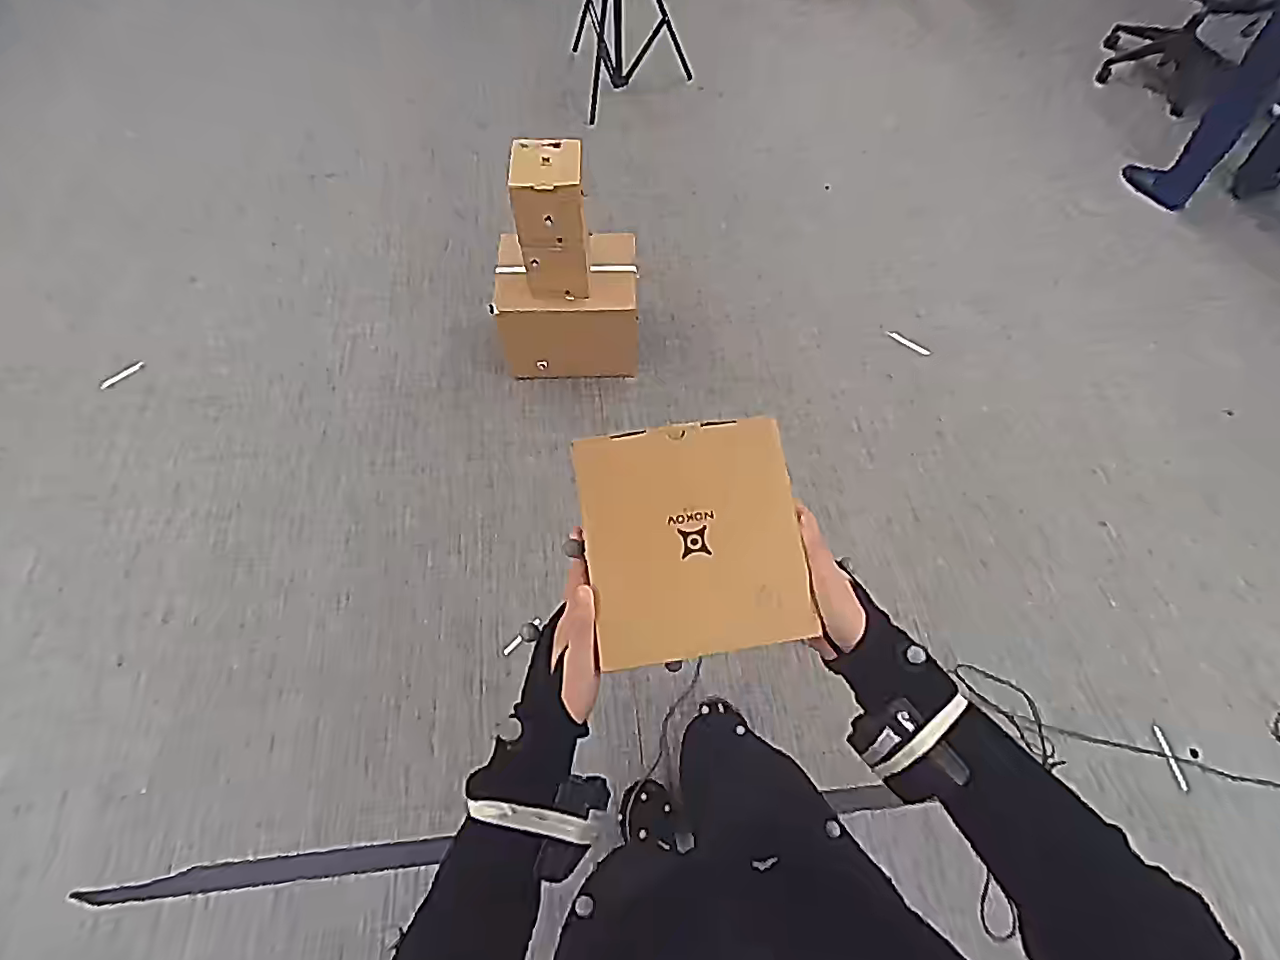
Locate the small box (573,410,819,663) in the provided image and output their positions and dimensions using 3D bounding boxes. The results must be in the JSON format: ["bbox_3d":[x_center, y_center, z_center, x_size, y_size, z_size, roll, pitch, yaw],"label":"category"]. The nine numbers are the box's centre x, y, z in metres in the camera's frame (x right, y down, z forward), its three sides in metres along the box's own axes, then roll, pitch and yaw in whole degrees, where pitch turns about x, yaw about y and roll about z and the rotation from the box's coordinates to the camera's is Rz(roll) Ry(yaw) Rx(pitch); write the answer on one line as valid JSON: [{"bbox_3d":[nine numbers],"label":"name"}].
[{"bbox_3d":[0.036,0.056,0.485,0.168,0.176,0.179,-8,76,-6],"label":"small box"}]

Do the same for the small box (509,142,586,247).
[{"bbox_3d":[-0.222,-0.701,1.338,0.168,0.176,0.179,-1,64,-2],"label":"small box"}]
